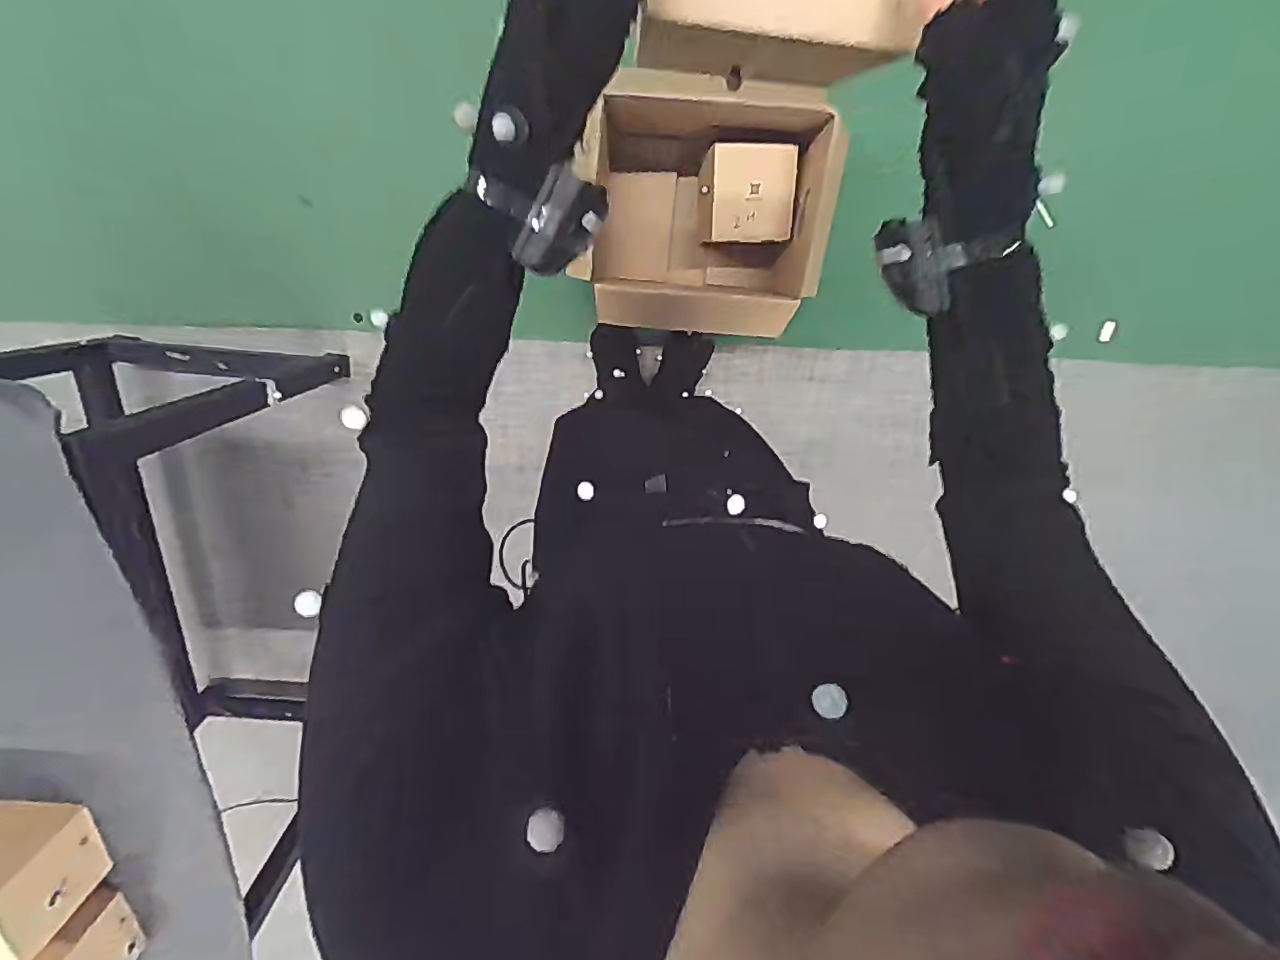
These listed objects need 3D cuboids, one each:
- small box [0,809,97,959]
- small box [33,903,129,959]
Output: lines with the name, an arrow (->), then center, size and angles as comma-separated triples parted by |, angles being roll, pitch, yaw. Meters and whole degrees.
small box -> -1.052, 0.669, 0.880 | 0.179, 0.176, 0.168 | 4, 111, 0
small box -> -1.074, 0.889, 0.964 | 0.179, 0.176, 0.168 | 1, 111, 1
